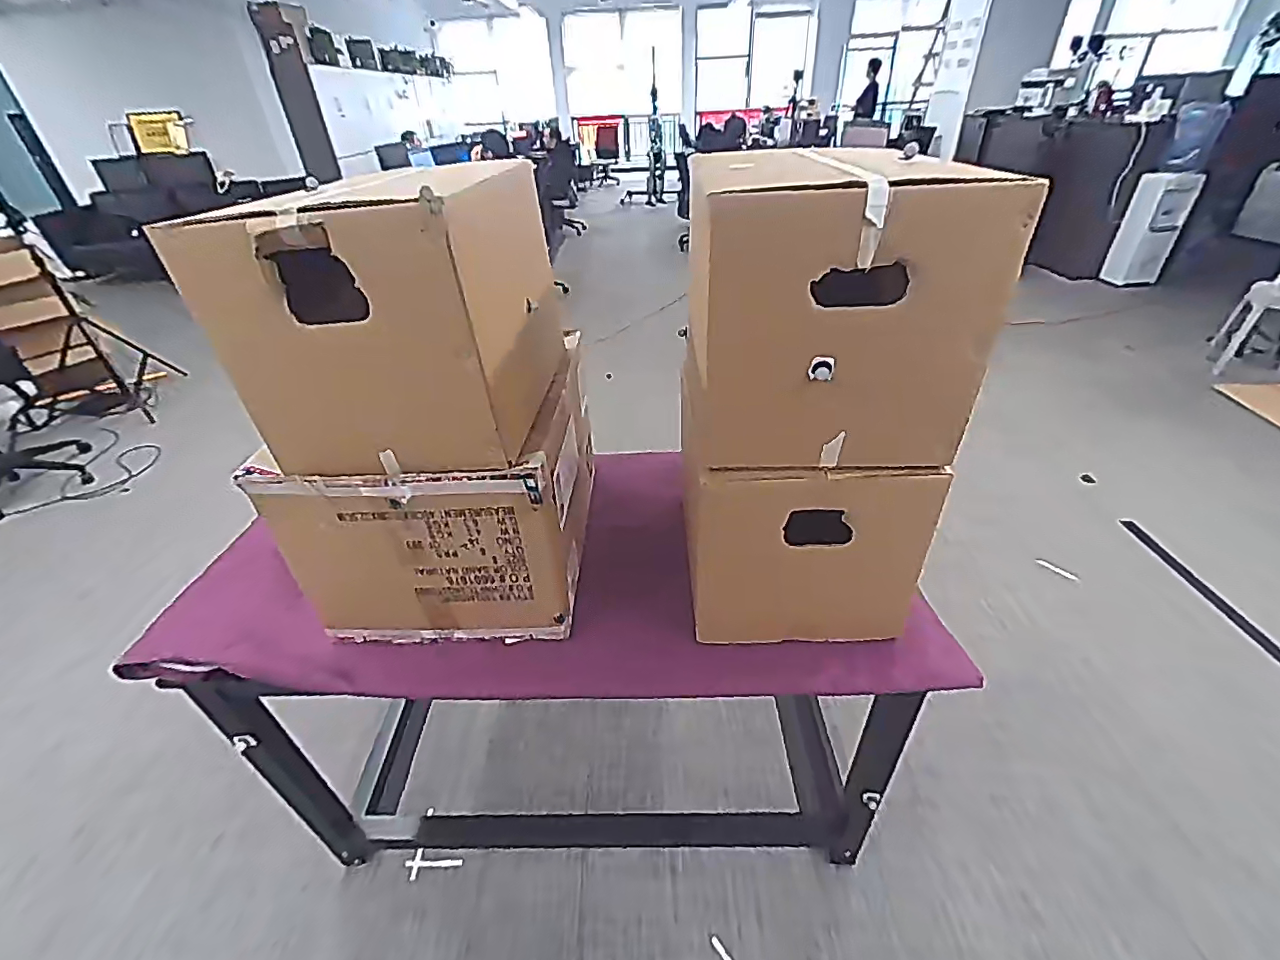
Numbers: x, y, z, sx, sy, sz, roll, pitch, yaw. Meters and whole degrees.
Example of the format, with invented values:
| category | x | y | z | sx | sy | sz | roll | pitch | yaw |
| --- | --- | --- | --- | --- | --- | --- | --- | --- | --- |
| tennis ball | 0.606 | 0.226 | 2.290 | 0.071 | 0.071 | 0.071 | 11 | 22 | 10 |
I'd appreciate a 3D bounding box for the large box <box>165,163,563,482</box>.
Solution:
| category | x | y | z | sx | sy | sz | roll | pitch | yaw |
| --- | --- | --- | --- | --- | --- | --- | --- | --- | --- |
| large box | -0.305 | -0.242 | 0.769 | 0.320 | 0.320 | 0.408 | -4 | 35 | 5 |
